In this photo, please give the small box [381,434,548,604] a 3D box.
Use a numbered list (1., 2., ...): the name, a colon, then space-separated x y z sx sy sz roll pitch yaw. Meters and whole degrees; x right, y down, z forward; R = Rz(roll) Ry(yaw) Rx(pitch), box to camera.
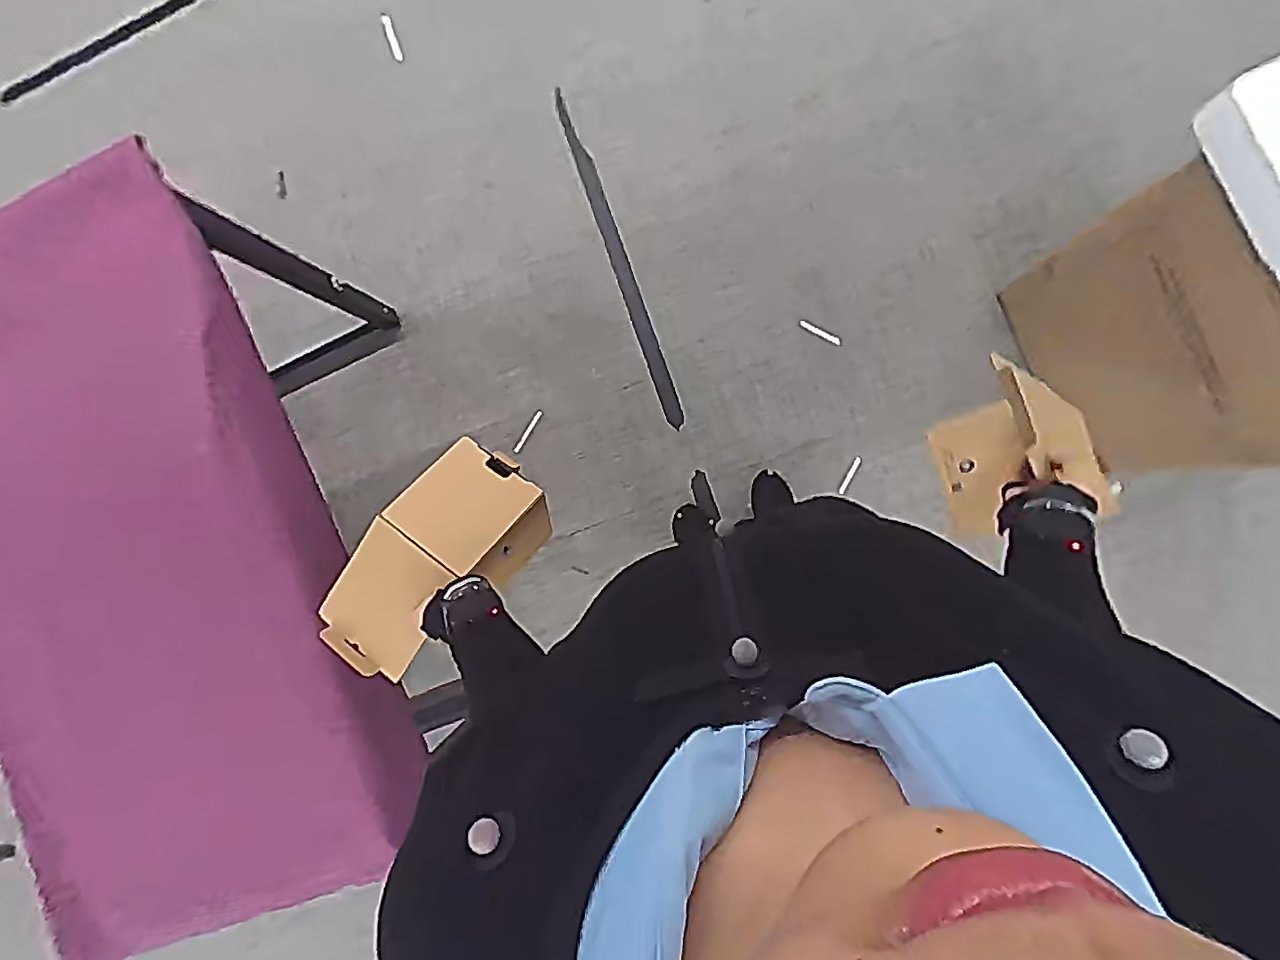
1. small box: -0.260 0.069 0.854 0.168 0.176 0.179 35 65 13
